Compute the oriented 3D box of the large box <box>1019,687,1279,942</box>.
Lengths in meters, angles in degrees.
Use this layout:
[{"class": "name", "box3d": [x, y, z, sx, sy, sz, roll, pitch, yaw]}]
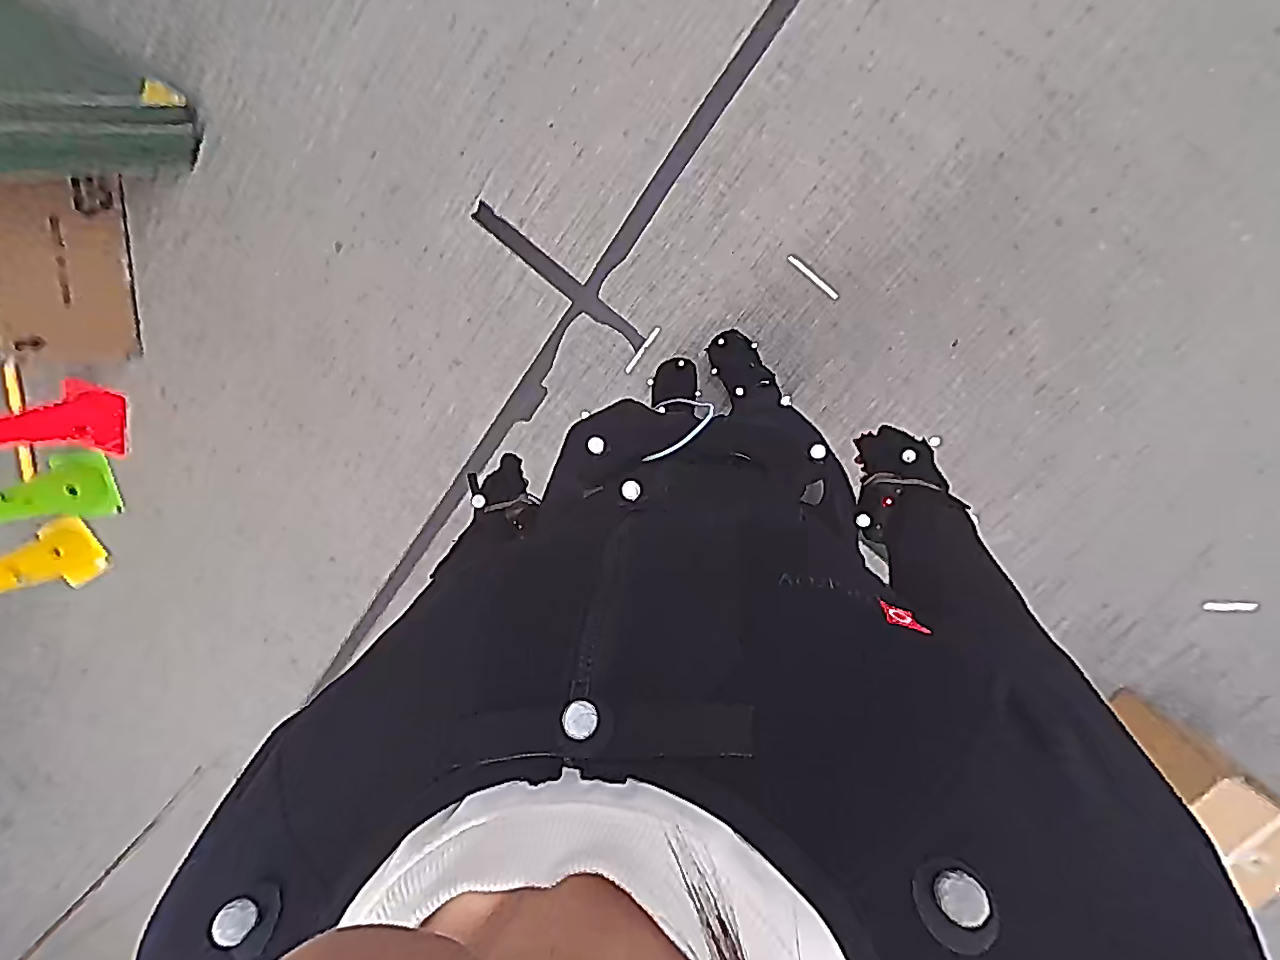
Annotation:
[{"class": "large box", "box3d": [1.303, 0.832, 1.380, 0.320, 0.320, 0.408, 31, 105, -3]}]
